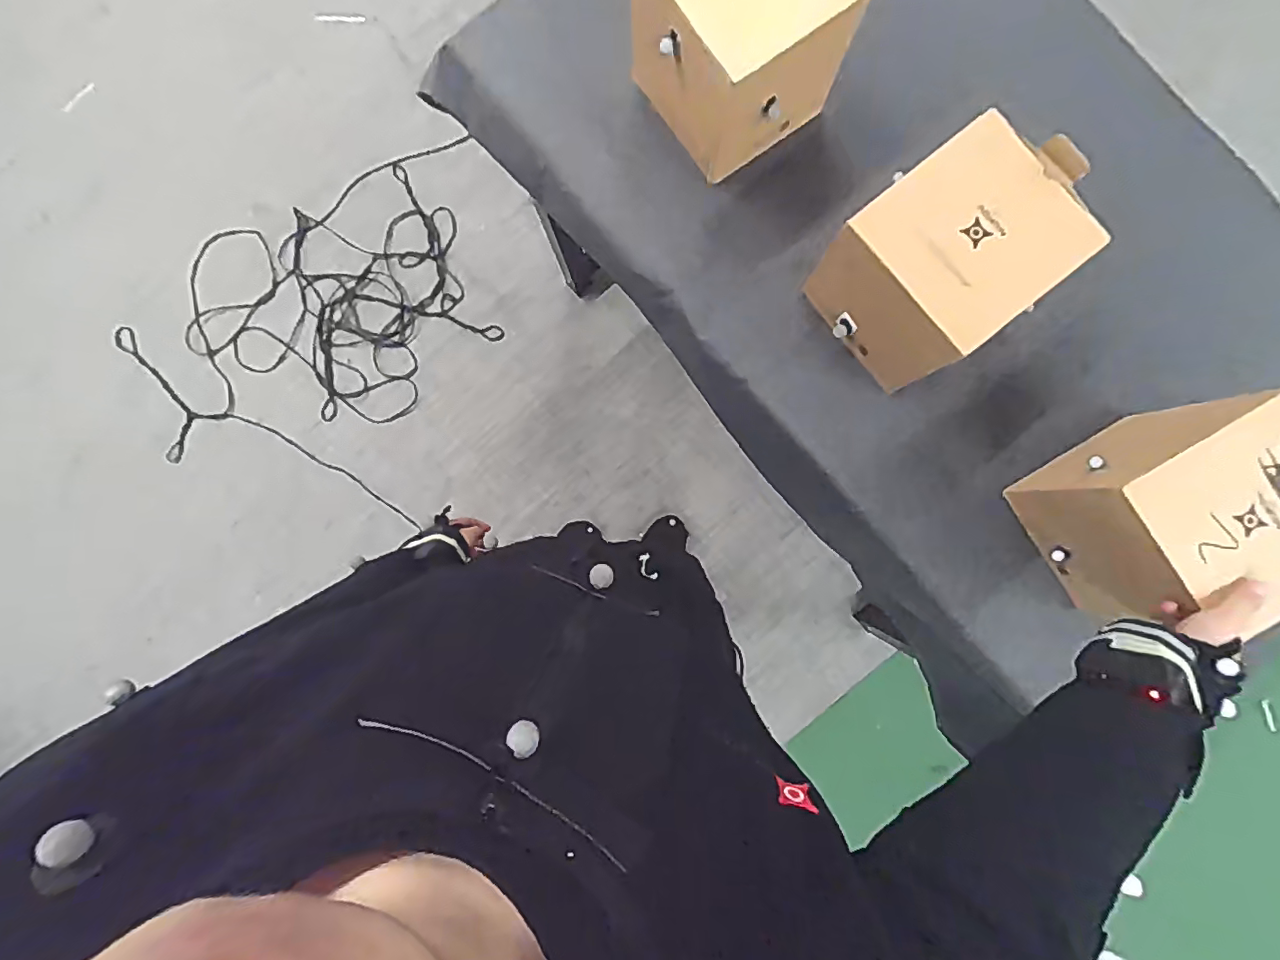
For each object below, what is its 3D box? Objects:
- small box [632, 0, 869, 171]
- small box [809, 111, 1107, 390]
[{"bbox_3d":[0.107,-0.479,0.589,0.168,0.176,0.179,-35,87,-1],"label":"small box"},{"bbox_3d":[0.311,-0.223,0.574,0.179,0.176,0.168,-40,86,-1],"label":"small box"}]
